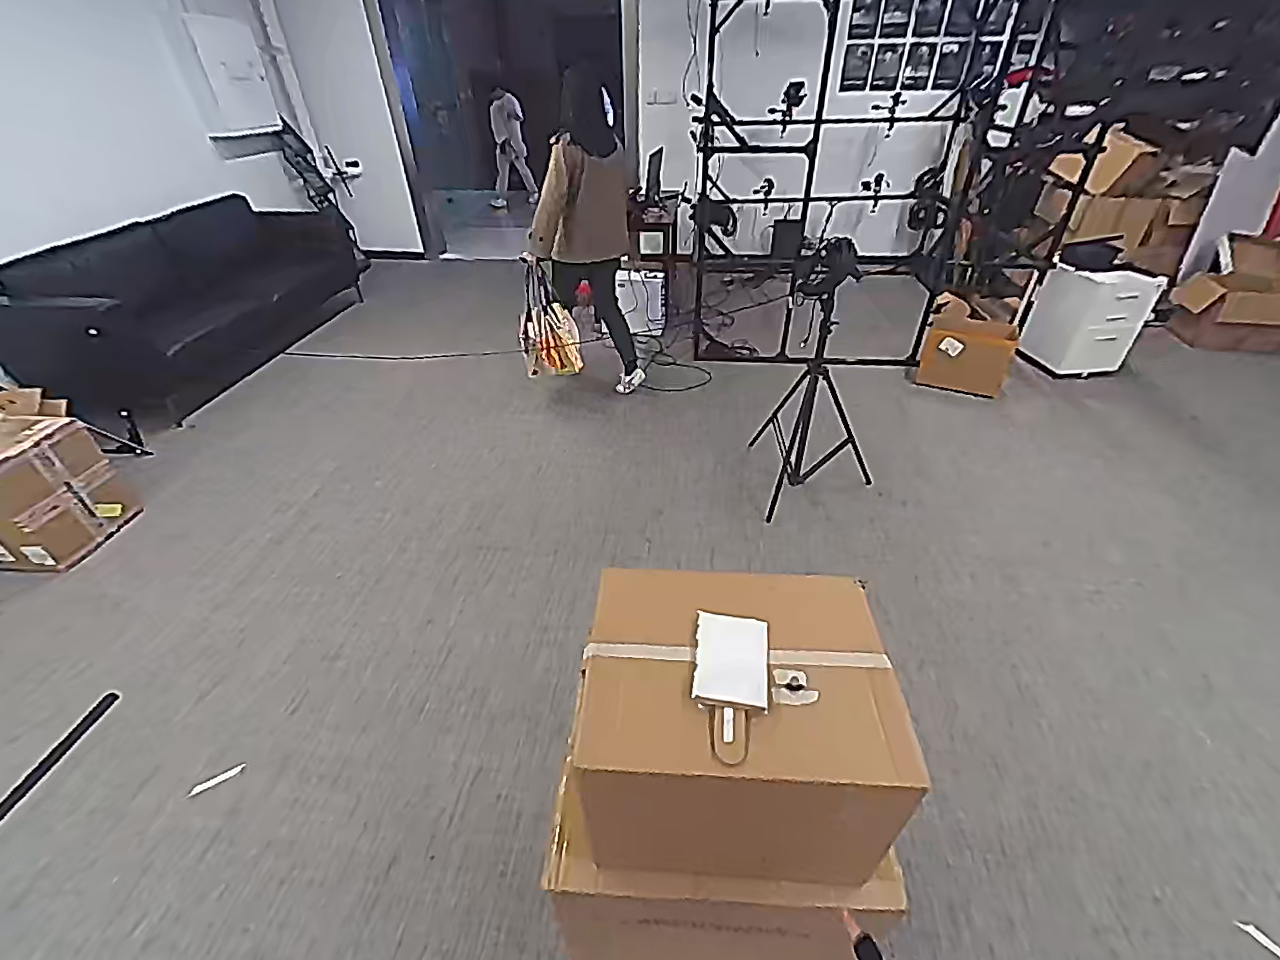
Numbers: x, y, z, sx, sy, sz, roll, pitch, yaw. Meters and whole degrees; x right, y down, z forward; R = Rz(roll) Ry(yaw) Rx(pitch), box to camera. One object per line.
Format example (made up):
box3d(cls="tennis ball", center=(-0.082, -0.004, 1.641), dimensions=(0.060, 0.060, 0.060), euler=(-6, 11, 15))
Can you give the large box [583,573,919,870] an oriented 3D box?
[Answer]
box3d(cls="large box", center=(0.134, 0.365, 0.838), dimensions=(0.408, 0.320, 0.320), euler=(2, 37, 3))
